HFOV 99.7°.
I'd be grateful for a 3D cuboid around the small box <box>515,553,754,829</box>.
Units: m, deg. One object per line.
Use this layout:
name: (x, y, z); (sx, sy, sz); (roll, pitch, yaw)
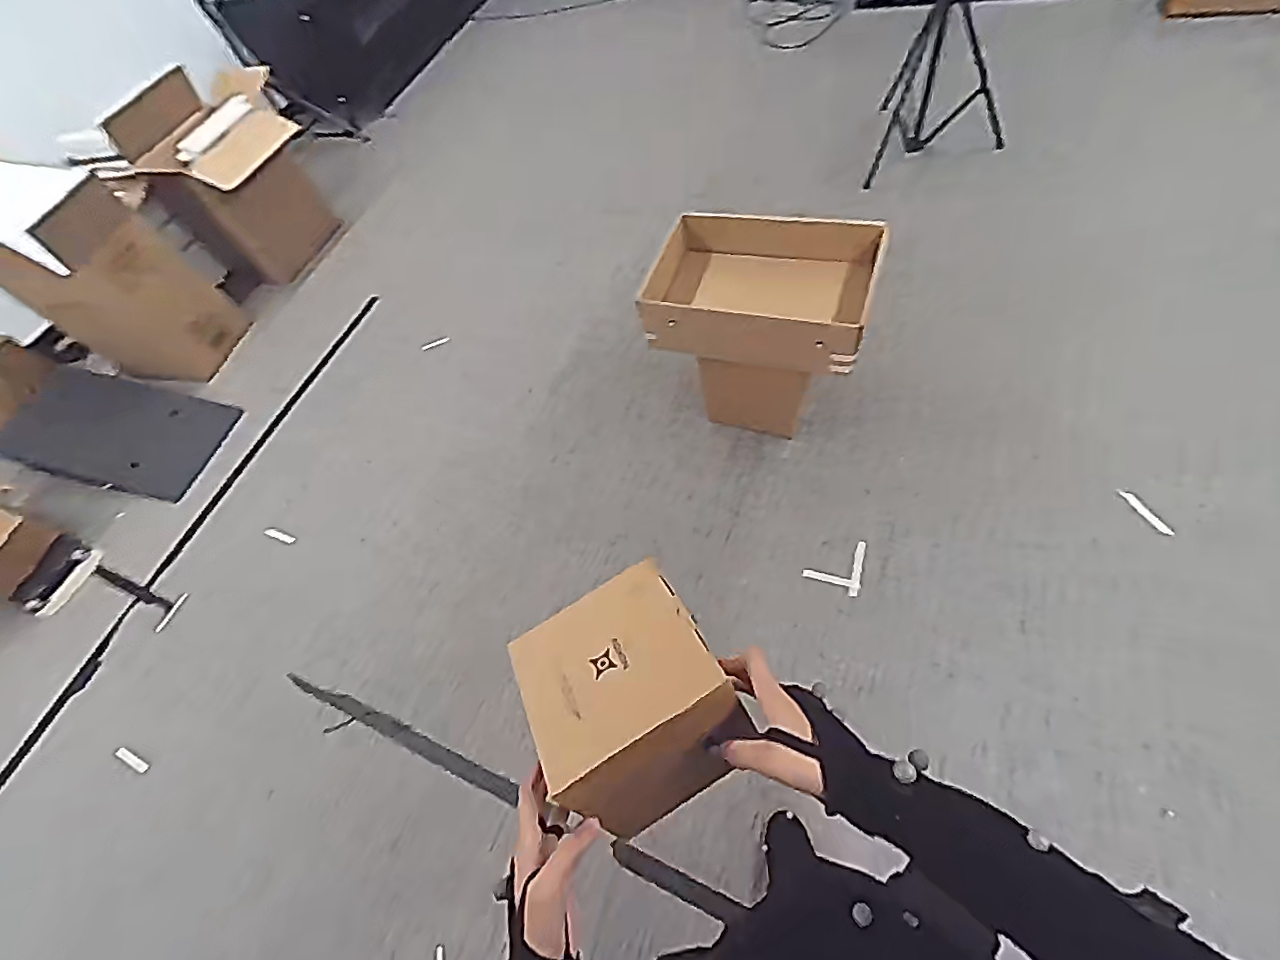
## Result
small box: (0.001, 0.215, 0.555); (0.179, 0.176, 0.168); (-30, 40, -4)
